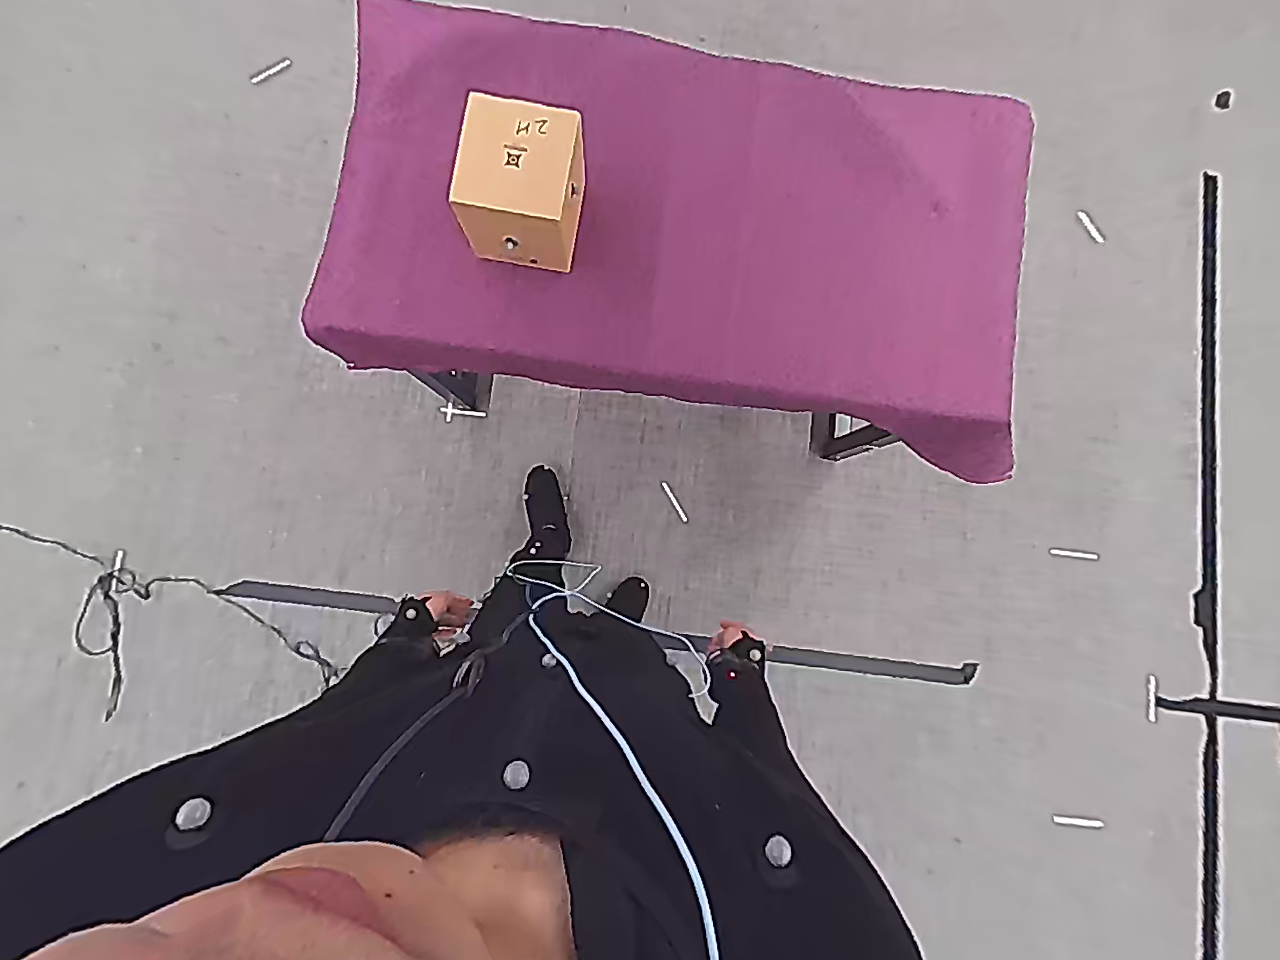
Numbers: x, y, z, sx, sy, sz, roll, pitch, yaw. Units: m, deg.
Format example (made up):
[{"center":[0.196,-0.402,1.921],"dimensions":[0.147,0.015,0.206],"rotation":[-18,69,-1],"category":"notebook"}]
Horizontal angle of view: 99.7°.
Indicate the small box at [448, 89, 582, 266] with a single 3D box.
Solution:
[{"center":[-0.188,-0.471,0.869],"dimensions":[0.168,0.176,0.179],"rotation":[10,85,-3],"category":"small box"}]
